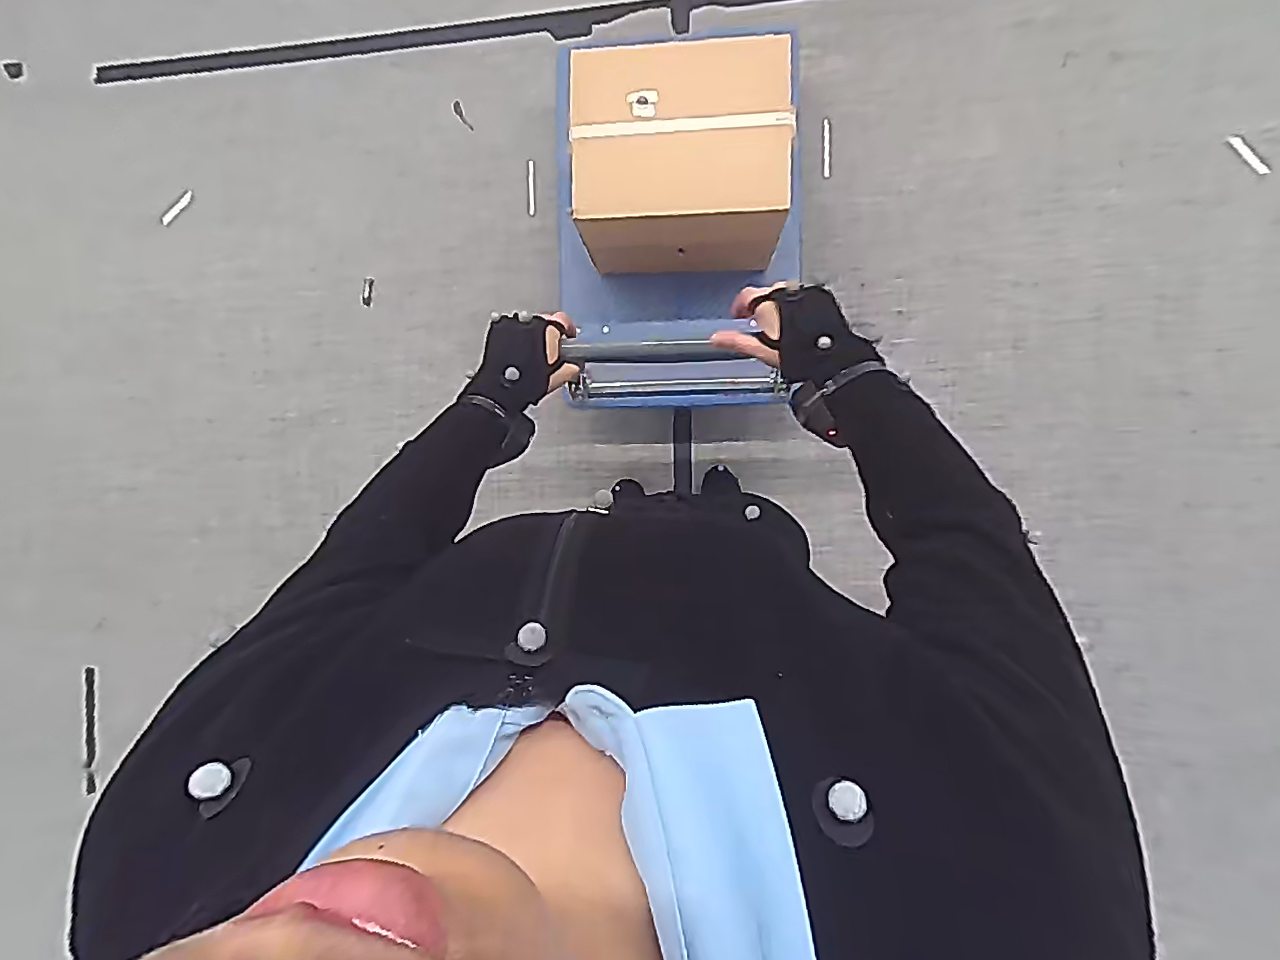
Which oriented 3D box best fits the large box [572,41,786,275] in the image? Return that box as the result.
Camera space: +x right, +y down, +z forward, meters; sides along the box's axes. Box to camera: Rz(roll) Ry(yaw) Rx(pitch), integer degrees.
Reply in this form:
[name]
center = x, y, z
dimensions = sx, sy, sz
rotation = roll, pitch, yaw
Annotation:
[large box]
center = 0.087, -0.652, 1.161
dimensions = 0.408, 0.320, 0.320
rotation = 0, 91, 6
